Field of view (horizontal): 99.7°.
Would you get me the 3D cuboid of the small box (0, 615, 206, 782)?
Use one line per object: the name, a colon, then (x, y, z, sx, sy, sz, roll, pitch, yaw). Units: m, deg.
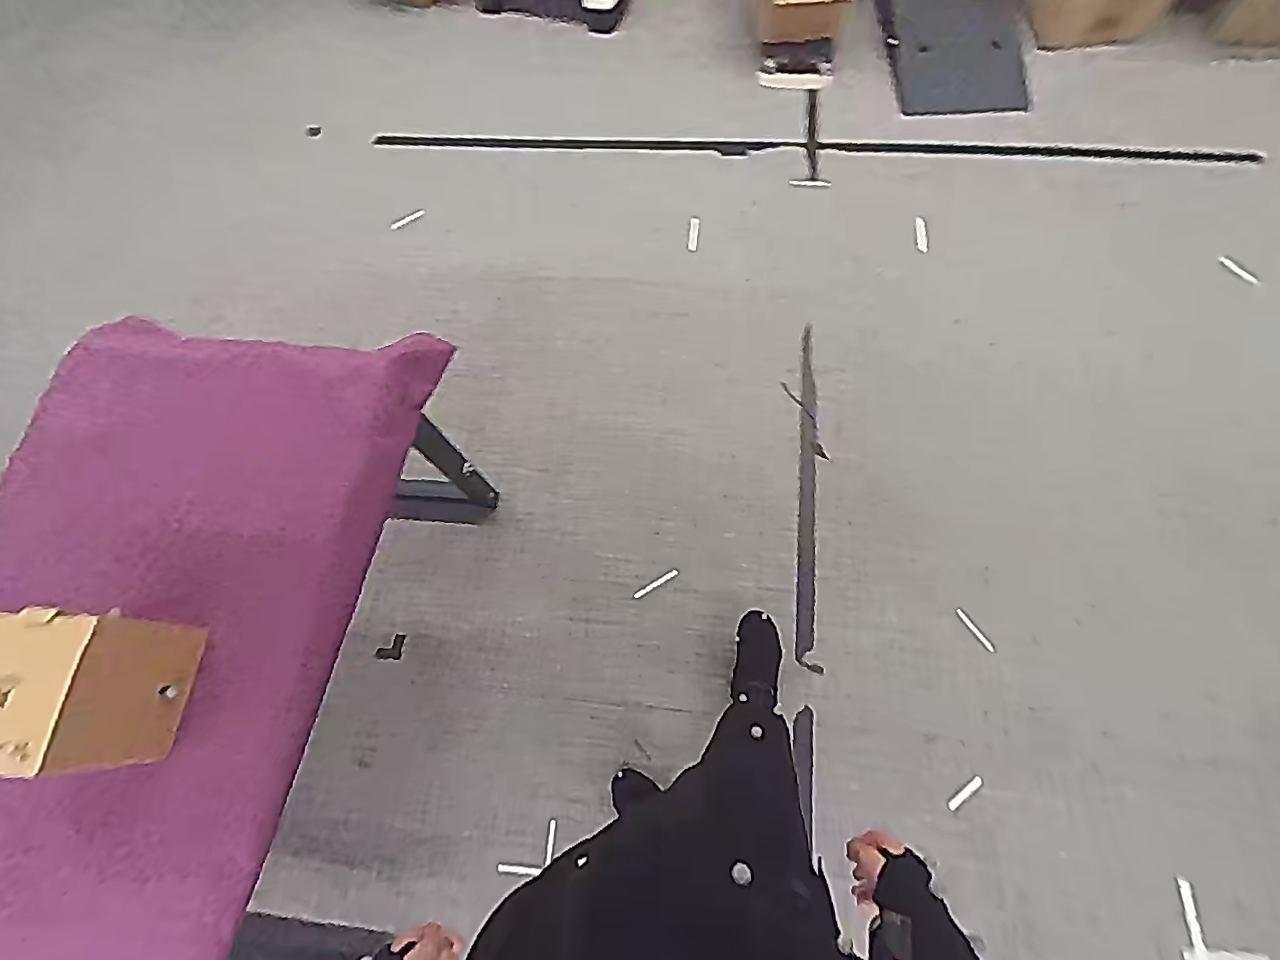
small box: (-0.727, 0.280, 0.707, 0.168, 0.176, 0.179, 1, 68, 6)
